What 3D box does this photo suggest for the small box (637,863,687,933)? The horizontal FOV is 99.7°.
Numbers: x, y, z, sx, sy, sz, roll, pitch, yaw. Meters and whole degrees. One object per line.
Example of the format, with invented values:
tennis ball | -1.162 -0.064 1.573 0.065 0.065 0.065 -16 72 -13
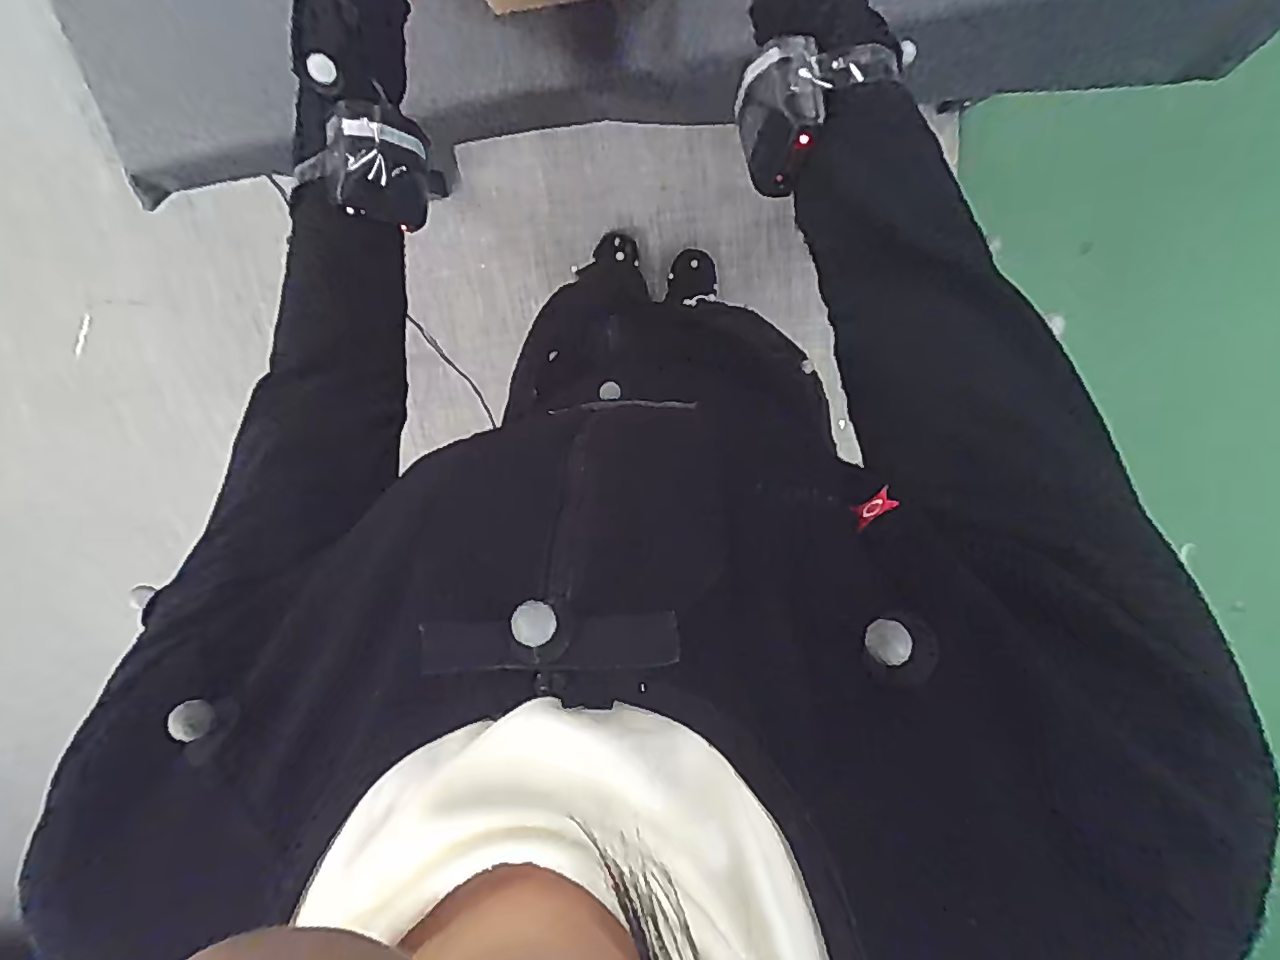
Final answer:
small box | 0.090 1.646 2.135 0.179 0.176 0.168 -6 114 7
